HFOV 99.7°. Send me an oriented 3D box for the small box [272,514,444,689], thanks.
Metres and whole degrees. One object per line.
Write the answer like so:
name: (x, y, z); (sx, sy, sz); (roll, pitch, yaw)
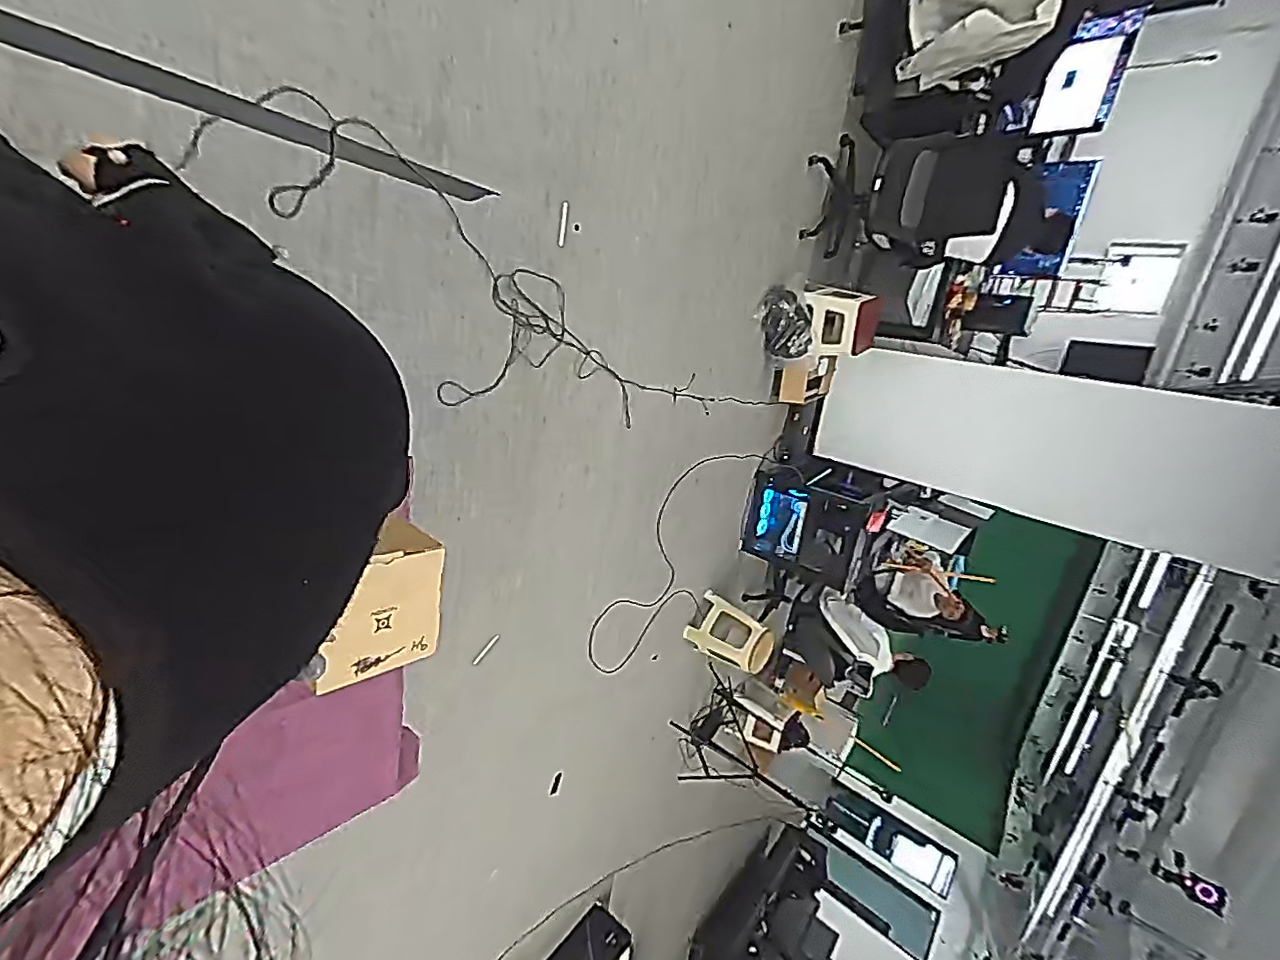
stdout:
small box: (-0.403, 0.155, 0.770); (0.168, 0.176, 0.179); (-8, 112, -50)
